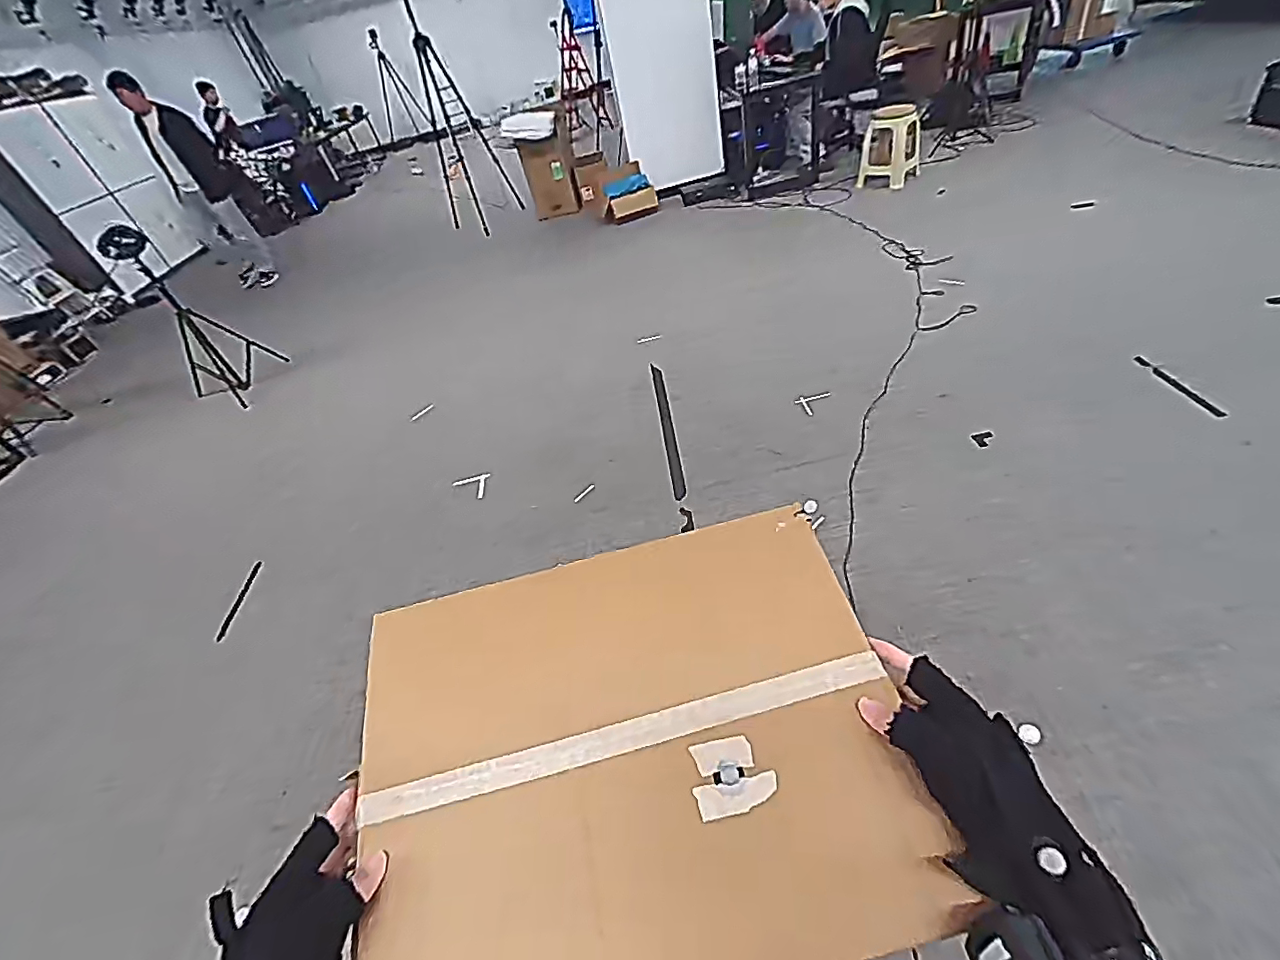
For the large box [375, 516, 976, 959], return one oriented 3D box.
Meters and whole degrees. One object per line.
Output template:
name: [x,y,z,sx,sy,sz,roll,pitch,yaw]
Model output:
large box: [0.009,0.289,0.543,0.408,0.320,0.320,-14,54,-2]
